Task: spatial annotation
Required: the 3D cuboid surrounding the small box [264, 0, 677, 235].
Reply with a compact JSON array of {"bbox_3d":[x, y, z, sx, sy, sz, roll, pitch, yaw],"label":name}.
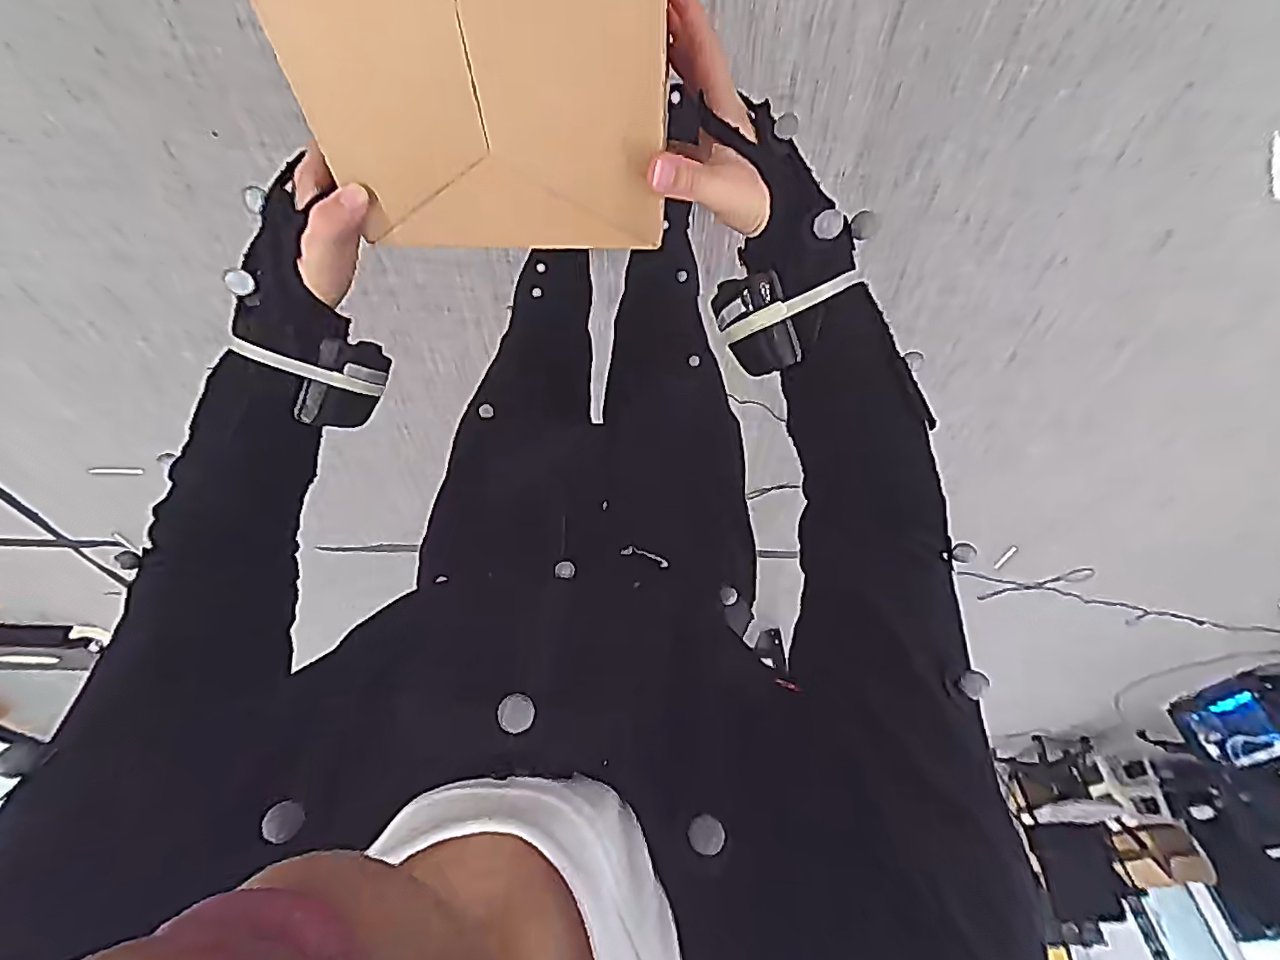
[{"bbox_3d":[-0.068,-0.253,0.291,0.179,0.176,0.168,1,146,2],"label":"small box"}]
